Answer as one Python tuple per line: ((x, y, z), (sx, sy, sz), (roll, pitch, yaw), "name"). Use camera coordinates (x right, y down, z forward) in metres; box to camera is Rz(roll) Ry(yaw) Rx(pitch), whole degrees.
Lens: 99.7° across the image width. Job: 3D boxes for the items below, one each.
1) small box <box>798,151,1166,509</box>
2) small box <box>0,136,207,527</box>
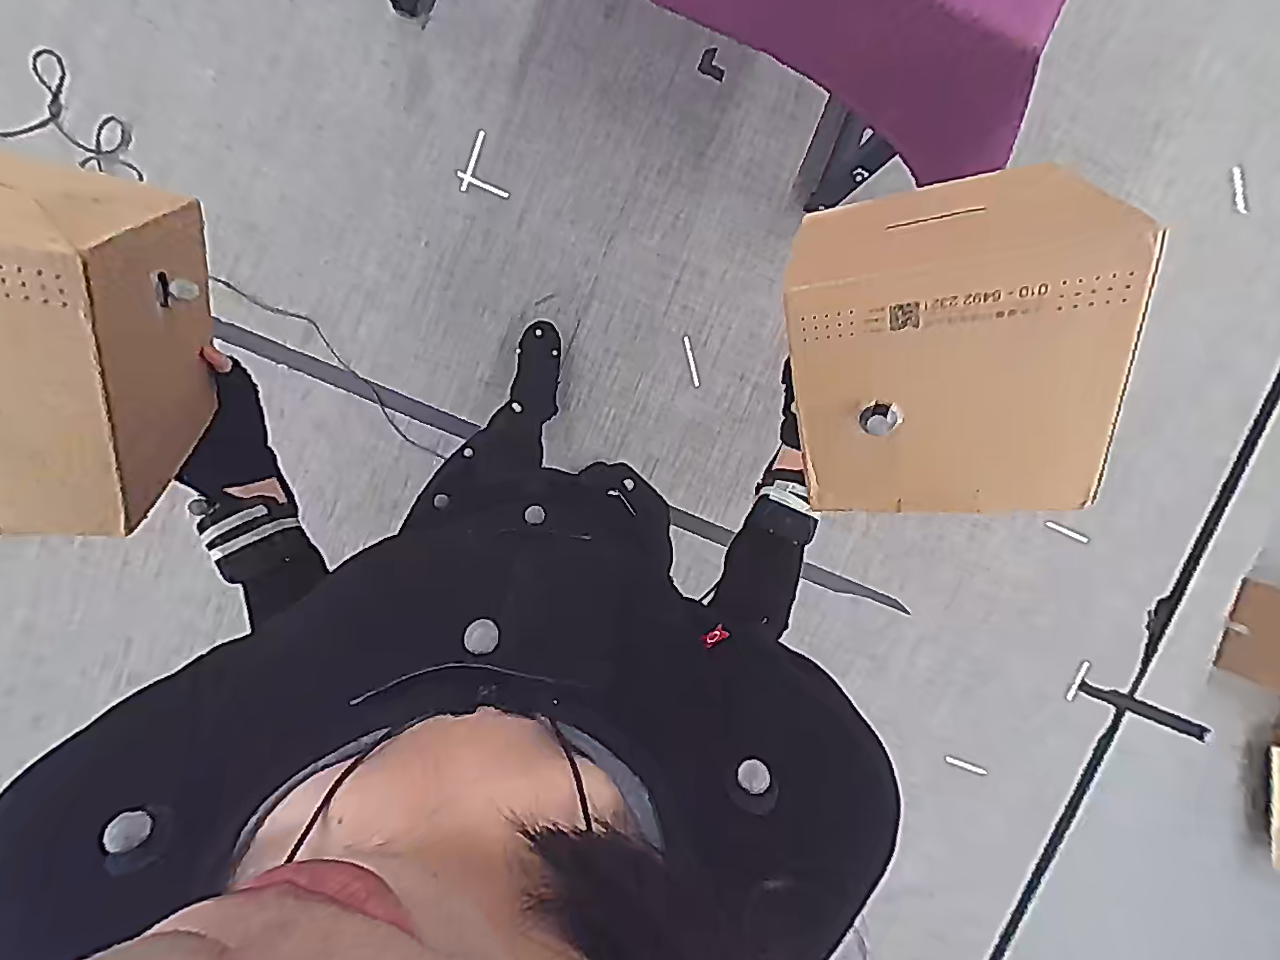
((0.201, -0.099, 0.362), (0.168, 0.179, 0.176), (-1, 126, 22), "small box")
((-0.370, -0.093, 0.299), (0.168, 0.179, 0.176), (5, 120, -26), "small box")
